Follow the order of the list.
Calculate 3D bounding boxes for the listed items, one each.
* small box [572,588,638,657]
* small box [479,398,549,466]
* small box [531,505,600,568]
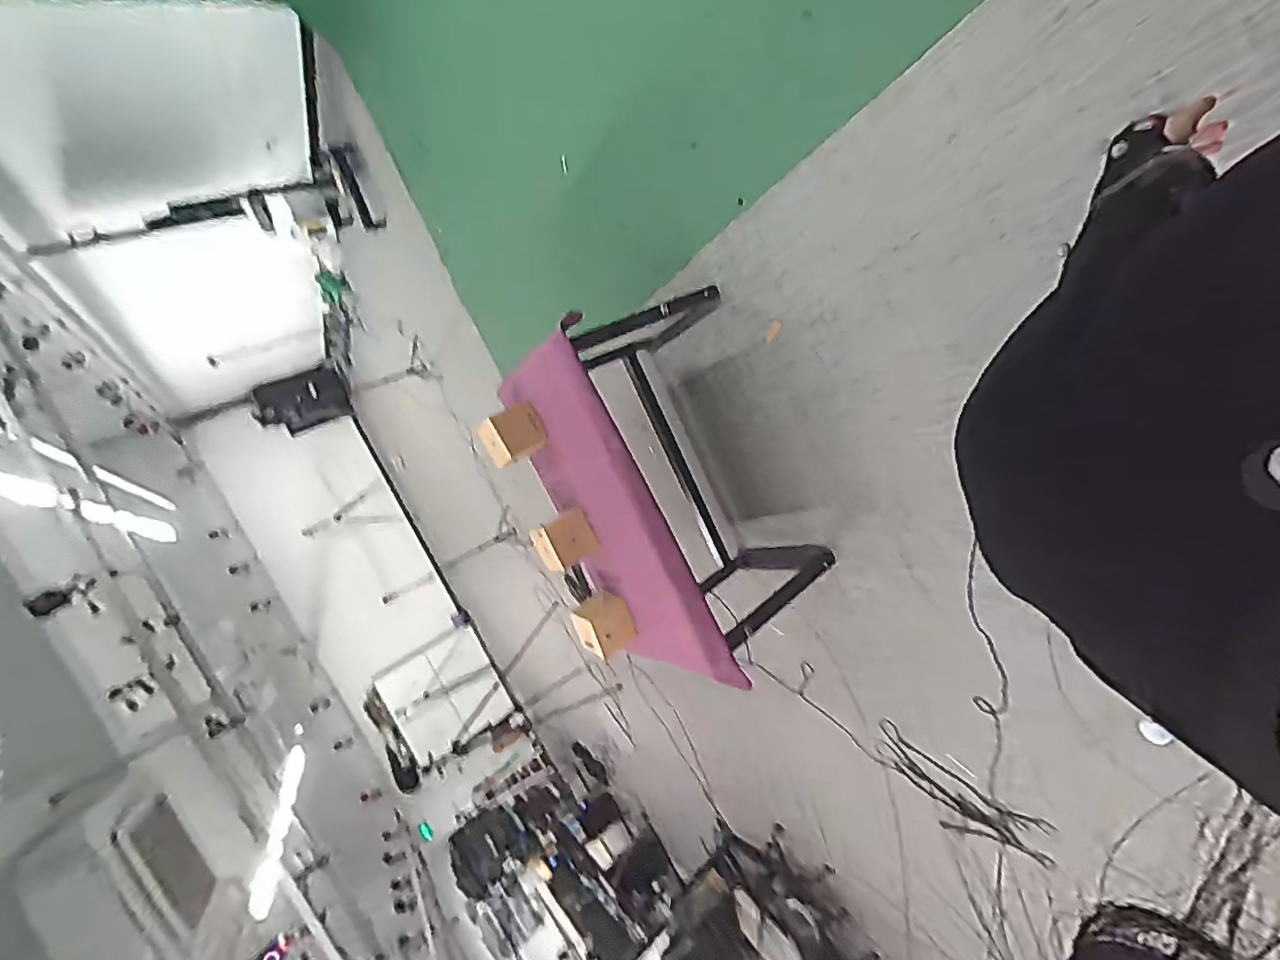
[{"bbox_3d":[-0.133,0.548,2.104,0.168,0.176,0.179,5,118,54],"label":"small box"},{"bbox_3d":[-0.458,-0.174,1.972,0.168,0.176,0.179,60,149,-3],"label":"small box"},{"bbox_3d":[-0.277,0.214,2.037,0.168,0.176,0.179,-17,102,57],"label":"small box"}]
